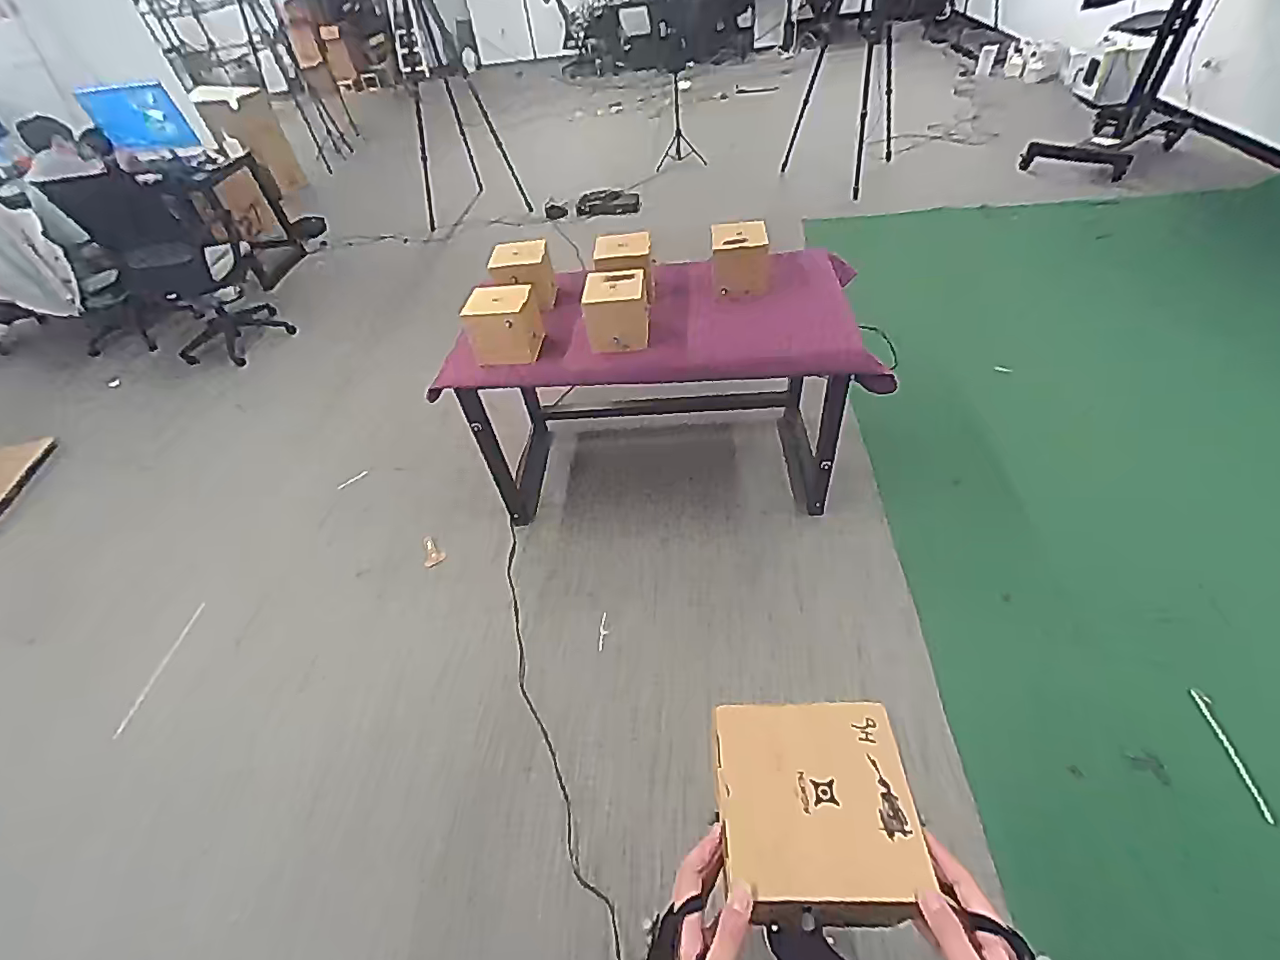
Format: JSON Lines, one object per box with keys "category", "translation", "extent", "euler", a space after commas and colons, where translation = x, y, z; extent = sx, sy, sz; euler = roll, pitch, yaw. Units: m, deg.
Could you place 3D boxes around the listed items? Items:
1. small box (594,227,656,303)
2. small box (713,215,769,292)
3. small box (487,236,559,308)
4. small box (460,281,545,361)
{"category": "small box", "translation": [-0.042, -0.689, 1.738], "extent": [0.179, 0.176, 0.168], "euler": [-4, 47, 7]}
{"category": "small box", "translation": [0.314, -0.703, 1.692], "extent": [0.168, 0.176, 0.179], "euler": [-2, 47, 8]}
{"category": "small box", "translation": [-0.378, -0.676, 1.776], "extent": [0.179, 0.176, 0.168], "euler": [-4, 48, 5]}
{"category": "small box", "translation": [-0.394, -0.461, 1.581], "extent": [0.179, 0.176, 0.168], "euler": [-1, 46, 7]}
